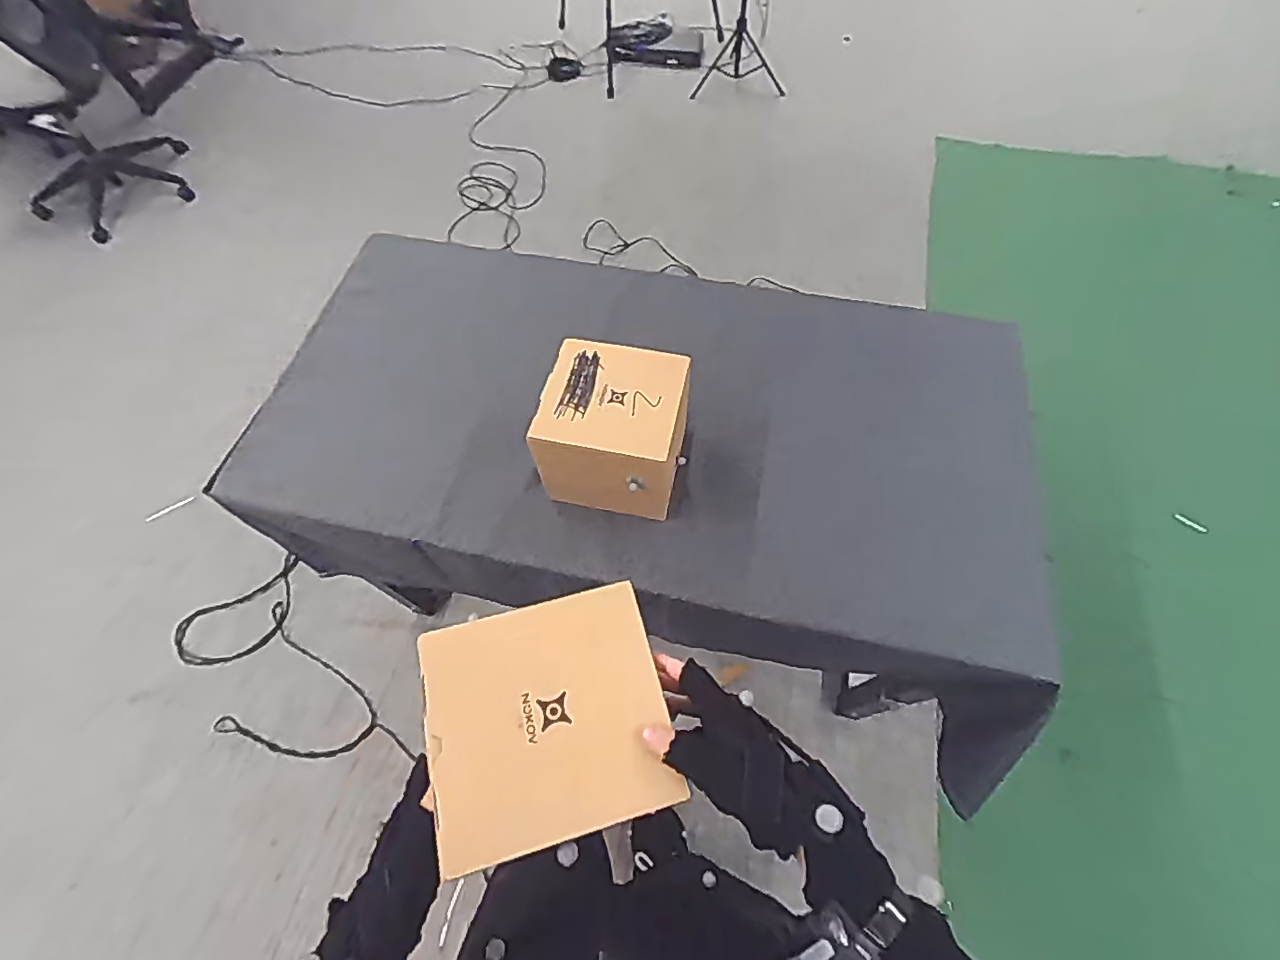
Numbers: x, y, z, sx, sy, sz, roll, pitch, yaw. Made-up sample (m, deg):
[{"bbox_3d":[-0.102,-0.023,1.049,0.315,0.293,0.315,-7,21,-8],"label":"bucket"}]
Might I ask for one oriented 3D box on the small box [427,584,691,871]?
[{"bbox_3d":[-0.070,0.210,0.475,0.179,0.176,0.168,-12,63,-9],"label":"small box"}]
